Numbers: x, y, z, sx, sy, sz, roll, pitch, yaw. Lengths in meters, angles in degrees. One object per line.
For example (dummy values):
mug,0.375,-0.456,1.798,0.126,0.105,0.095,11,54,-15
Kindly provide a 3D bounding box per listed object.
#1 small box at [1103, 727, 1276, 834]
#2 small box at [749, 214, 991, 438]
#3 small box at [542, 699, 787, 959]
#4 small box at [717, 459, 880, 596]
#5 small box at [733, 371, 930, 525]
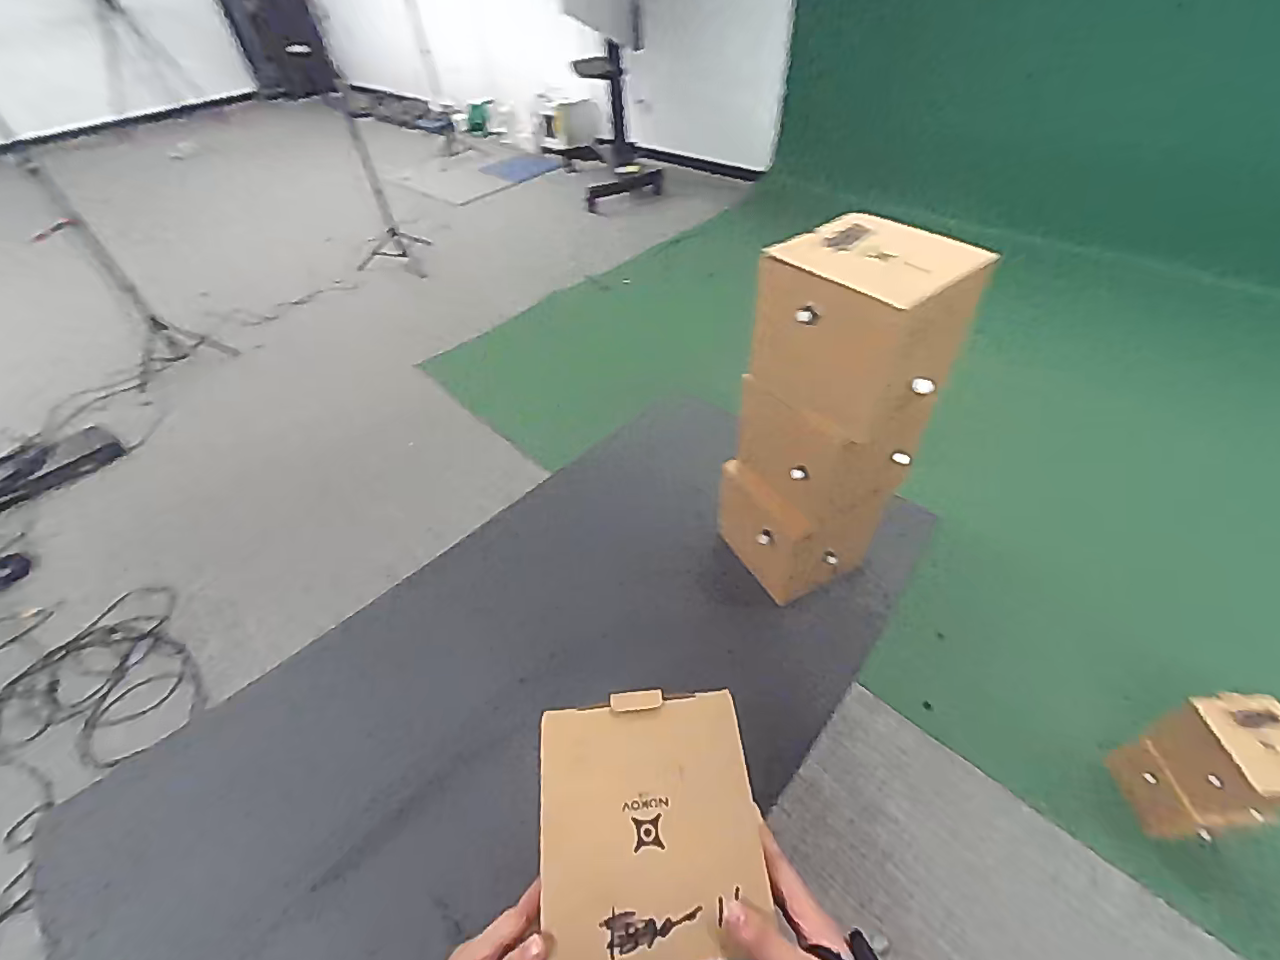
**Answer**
small box,1.204,0.673,1.203,0.168,0.176,0.179,-4,46,1
small box,0.243,-0.177,0.617,0.168,0.176,0.179,-32,51,-24
small box,0.014,0.308,0.465,0.168,0.176,0.179,-6,53,0
small box,0.235,0.057,0.847,0.168,0.176,0.179,-23,47,-17
small box,0.245,-0.061,0.735,0.168,0.176,0.179,-26,48,-20
